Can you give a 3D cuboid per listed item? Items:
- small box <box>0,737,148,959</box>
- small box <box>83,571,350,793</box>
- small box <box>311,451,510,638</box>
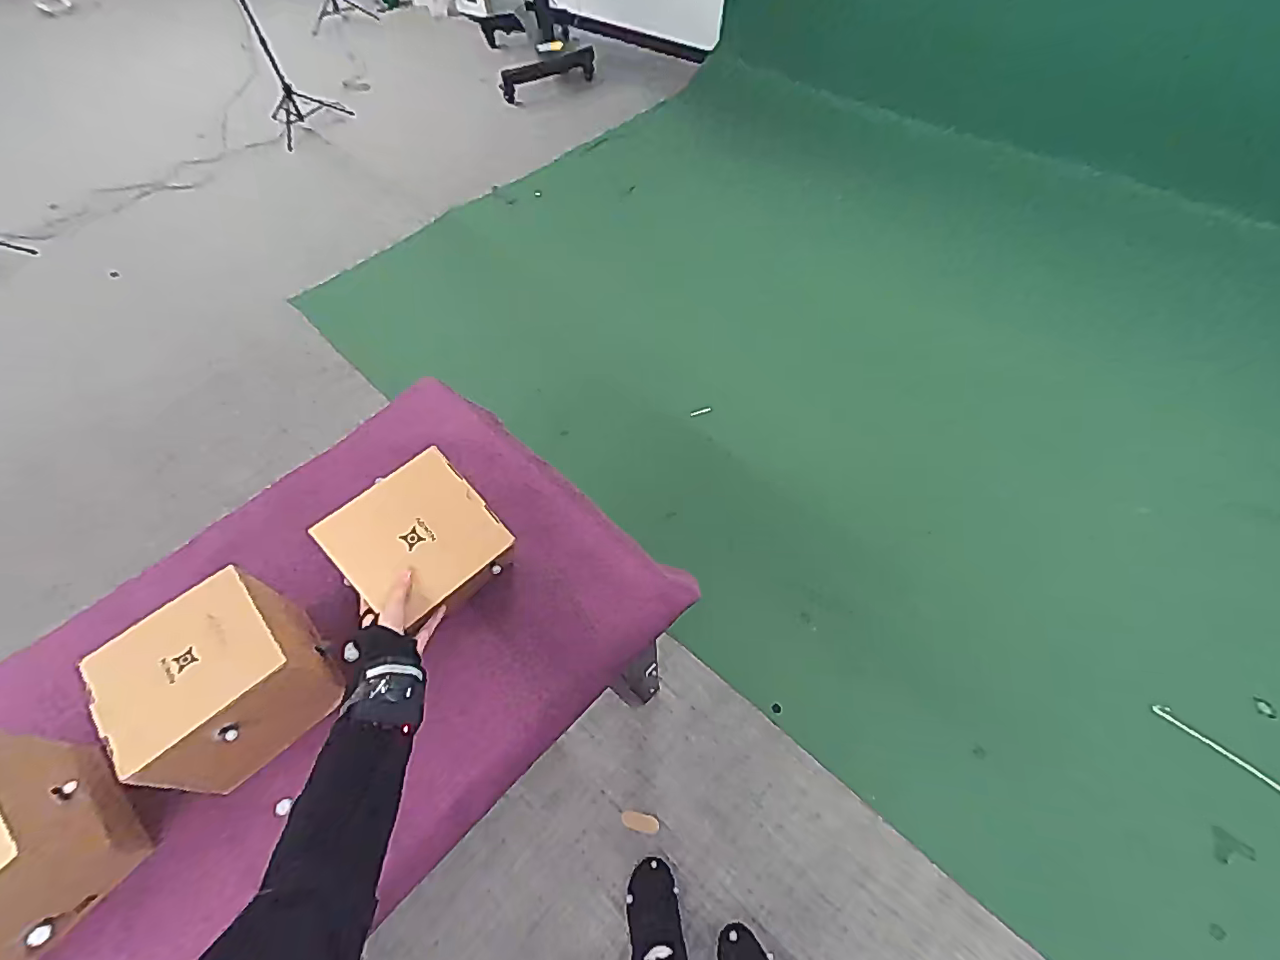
[{"bbox_3d":[-0.690,0.406,0.568,0.179,0.176,0.168,34,64,22],"label":"small box"},{"bbox_3d":[-0.504,0.253,0.666,0.179,0.176,0.168,-38,63,-22],"label":"small box"},{"bbox_3d":[-0.292,0.097,0.732,0.179,0.176,0.168,-40,85,-22],"label":"small box"}]
